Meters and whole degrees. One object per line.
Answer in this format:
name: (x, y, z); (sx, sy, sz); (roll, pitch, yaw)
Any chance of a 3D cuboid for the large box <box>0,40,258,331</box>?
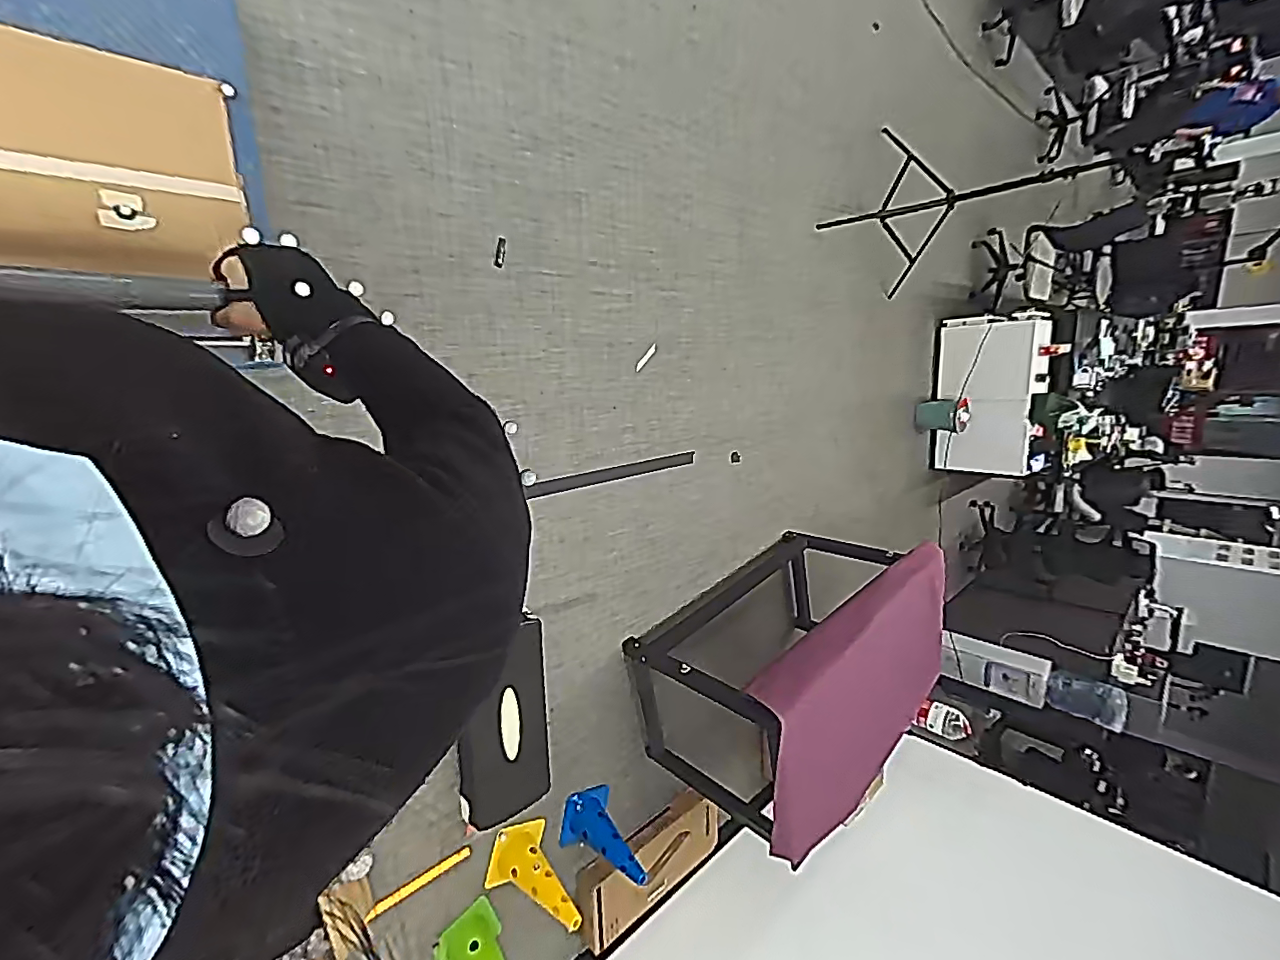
large box: (-0.848, -0.393, 0.790); (0.408, 0.320, 0.320); (-12, 104, -42)
